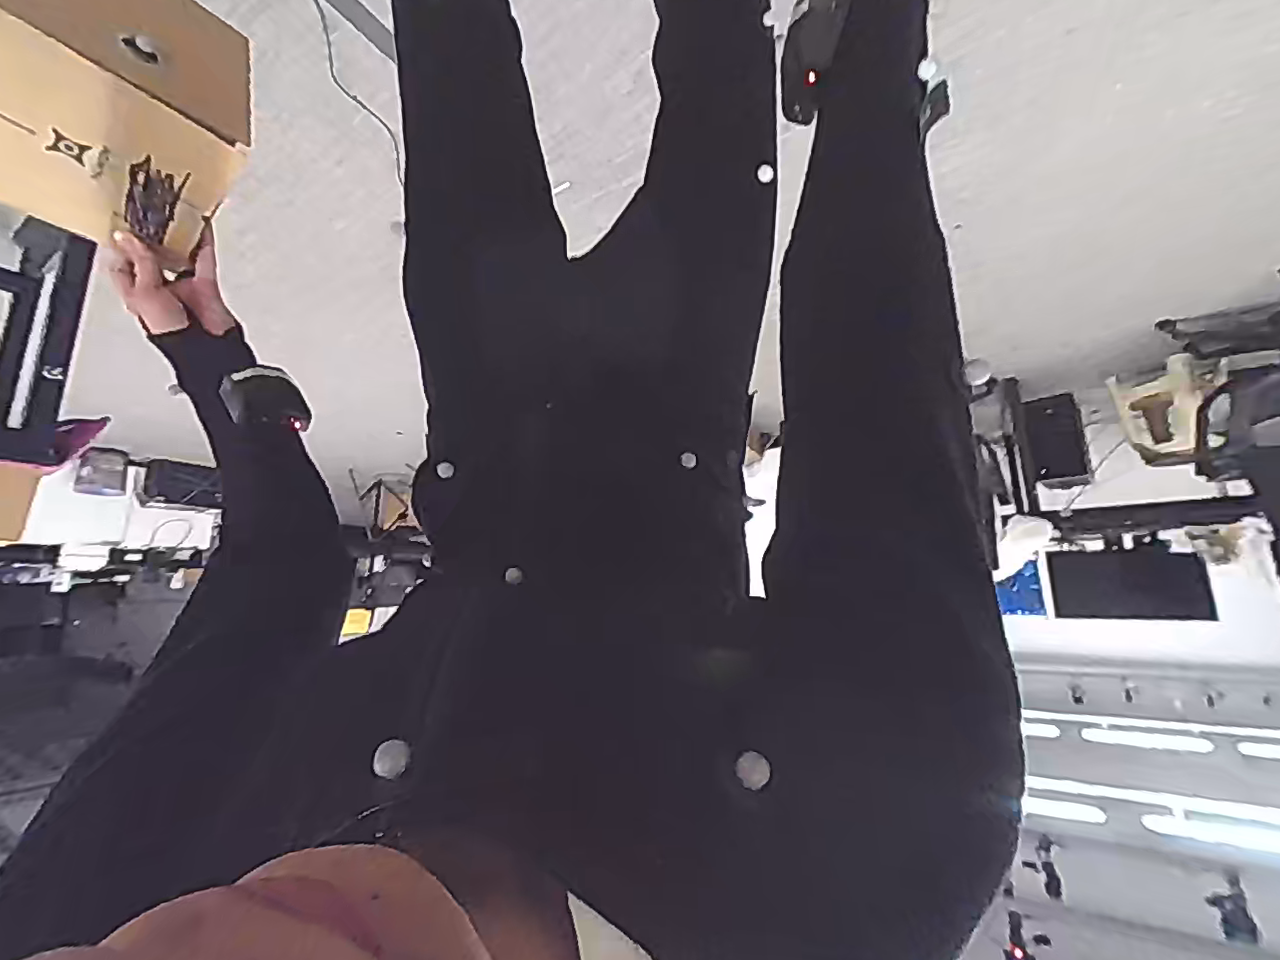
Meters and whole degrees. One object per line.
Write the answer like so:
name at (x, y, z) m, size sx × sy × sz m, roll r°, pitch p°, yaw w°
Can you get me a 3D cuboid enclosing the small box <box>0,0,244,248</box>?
small box at (-0.469, -0.348, 0.457) m, size 0.168 × 0.176 × 0.179 m, roll -30°, pitch 154°, yaw 27°
